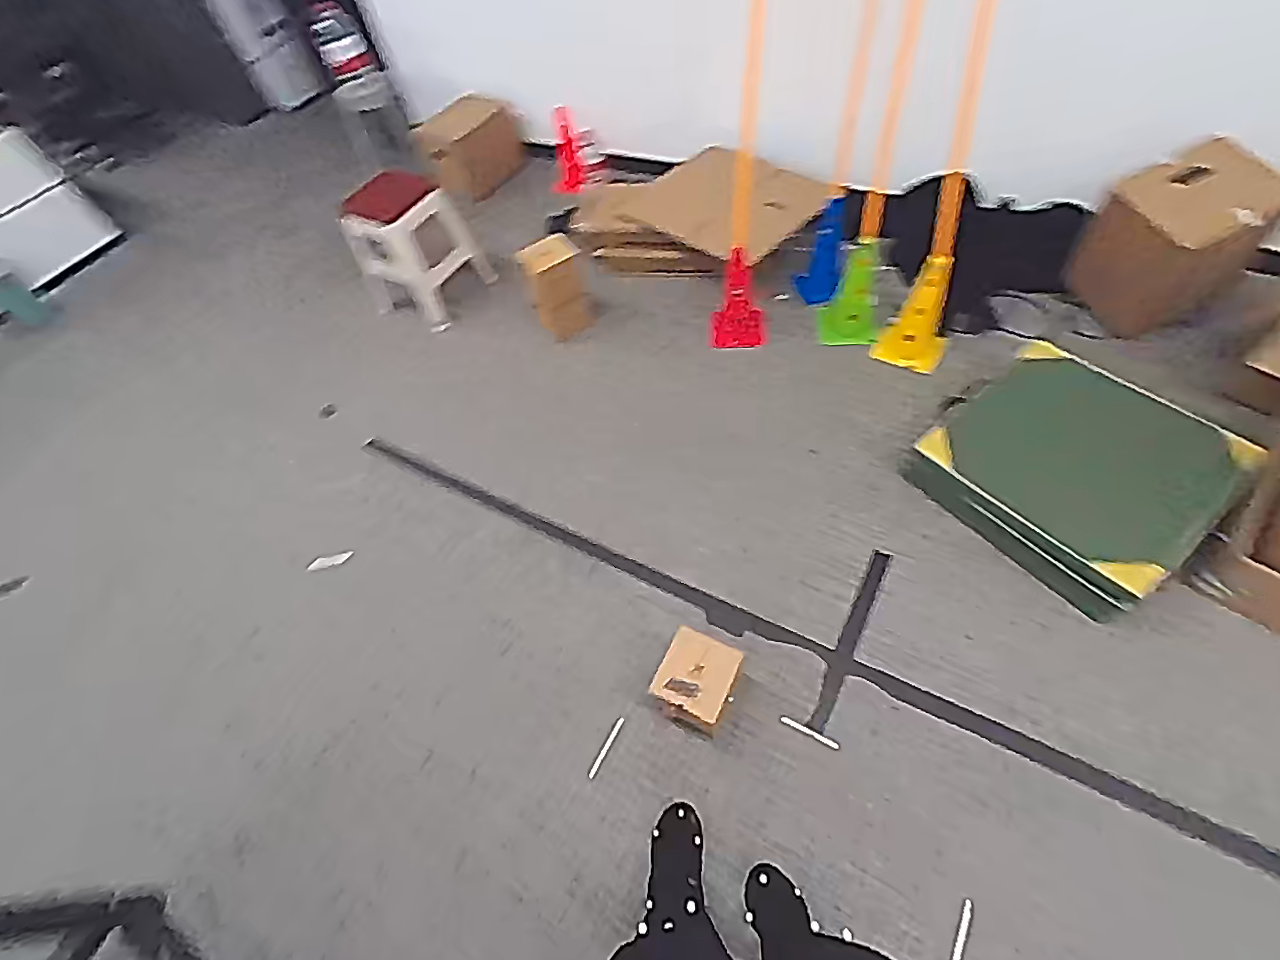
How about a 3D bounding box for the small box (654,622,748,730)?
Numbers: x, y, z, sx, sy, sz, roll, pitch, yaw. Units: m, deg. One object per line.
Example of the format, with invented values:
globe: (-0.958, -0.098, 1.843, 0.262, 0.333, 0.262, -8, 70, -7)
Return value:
small box: (0.155, 0.482, 1.317, 0.168, 0.176, 0.179, 21, 62, 22)
